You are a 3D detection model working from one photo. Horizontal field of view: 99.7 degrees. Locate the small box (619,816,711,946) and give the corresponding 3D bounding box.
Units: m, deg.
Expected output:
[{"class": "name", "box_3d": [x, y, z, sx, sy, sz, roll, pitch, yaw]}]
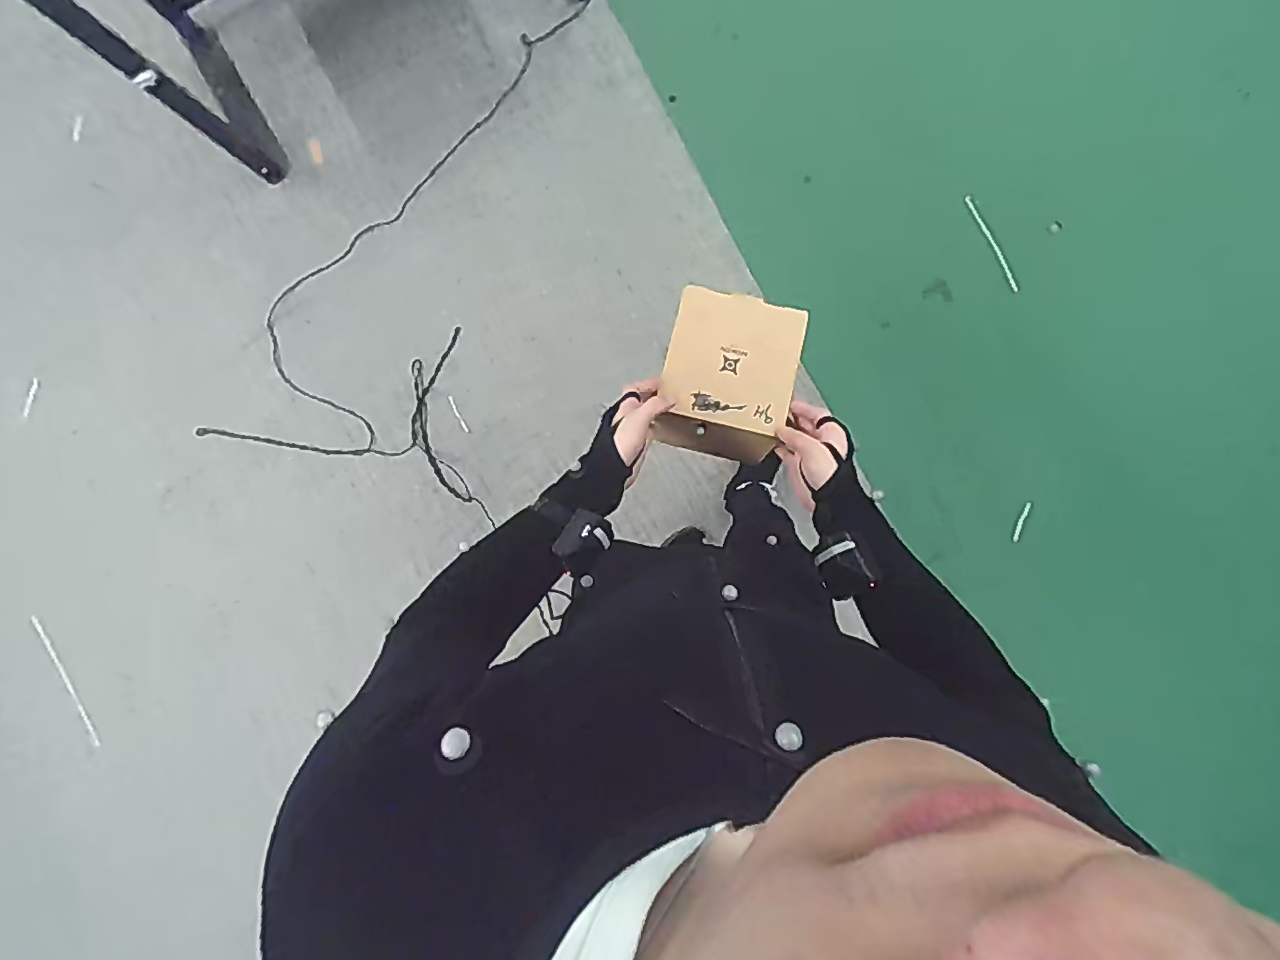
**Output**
[{"class": "small box", "box_3d": [0.059, 0.970, 1.331, 0.168, 0.176, 0.179, -24, 88, 2]}]
